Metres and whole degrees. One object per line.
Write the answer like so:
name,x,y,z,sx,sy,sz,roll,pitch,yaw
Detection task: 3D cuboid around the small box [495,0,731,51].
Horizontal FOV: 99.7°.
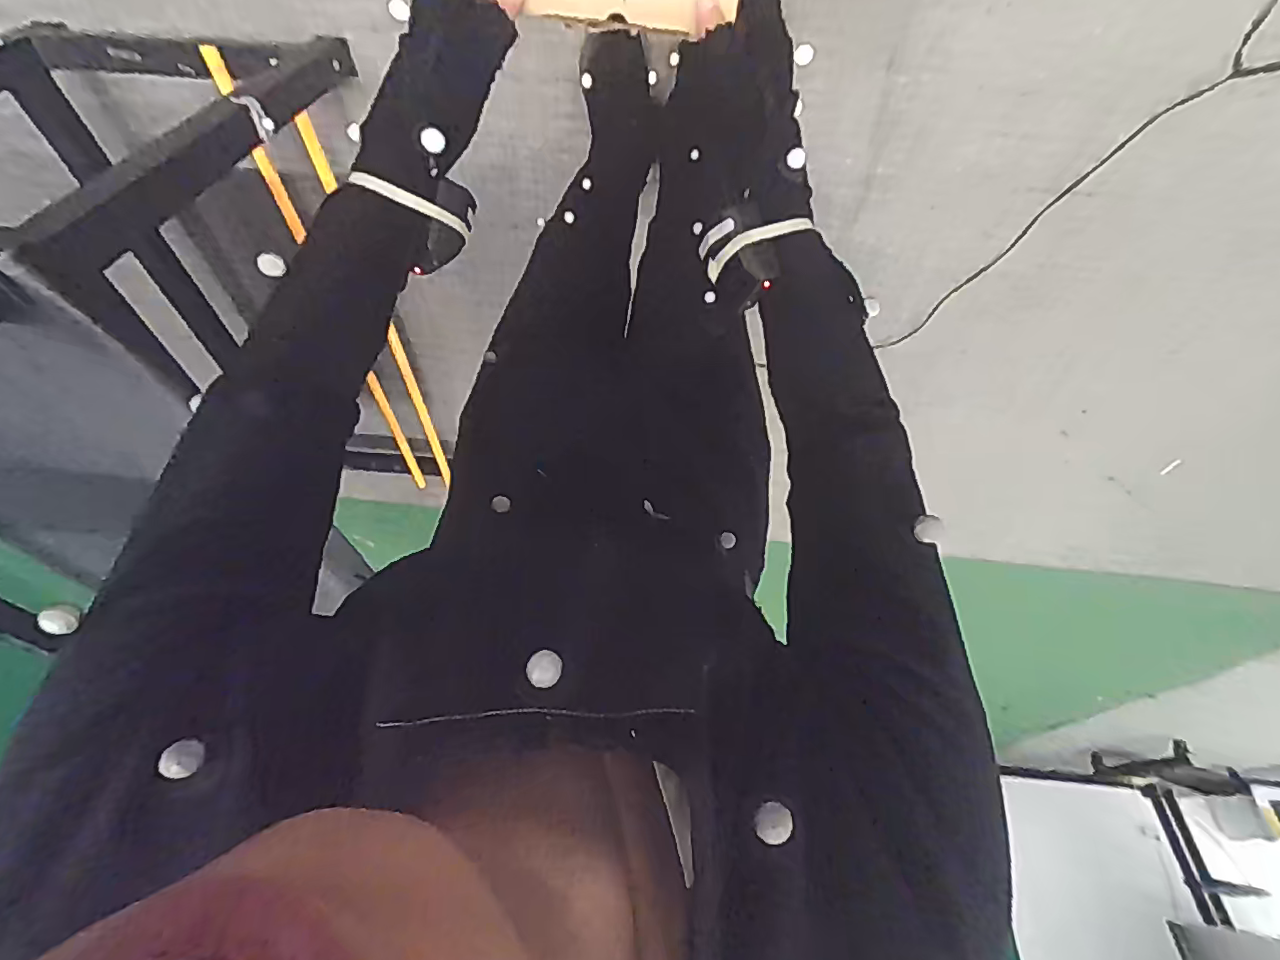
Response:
small box,-0.008,-0.433,0.381,0.168,0.176,0.179,5,134,-3
